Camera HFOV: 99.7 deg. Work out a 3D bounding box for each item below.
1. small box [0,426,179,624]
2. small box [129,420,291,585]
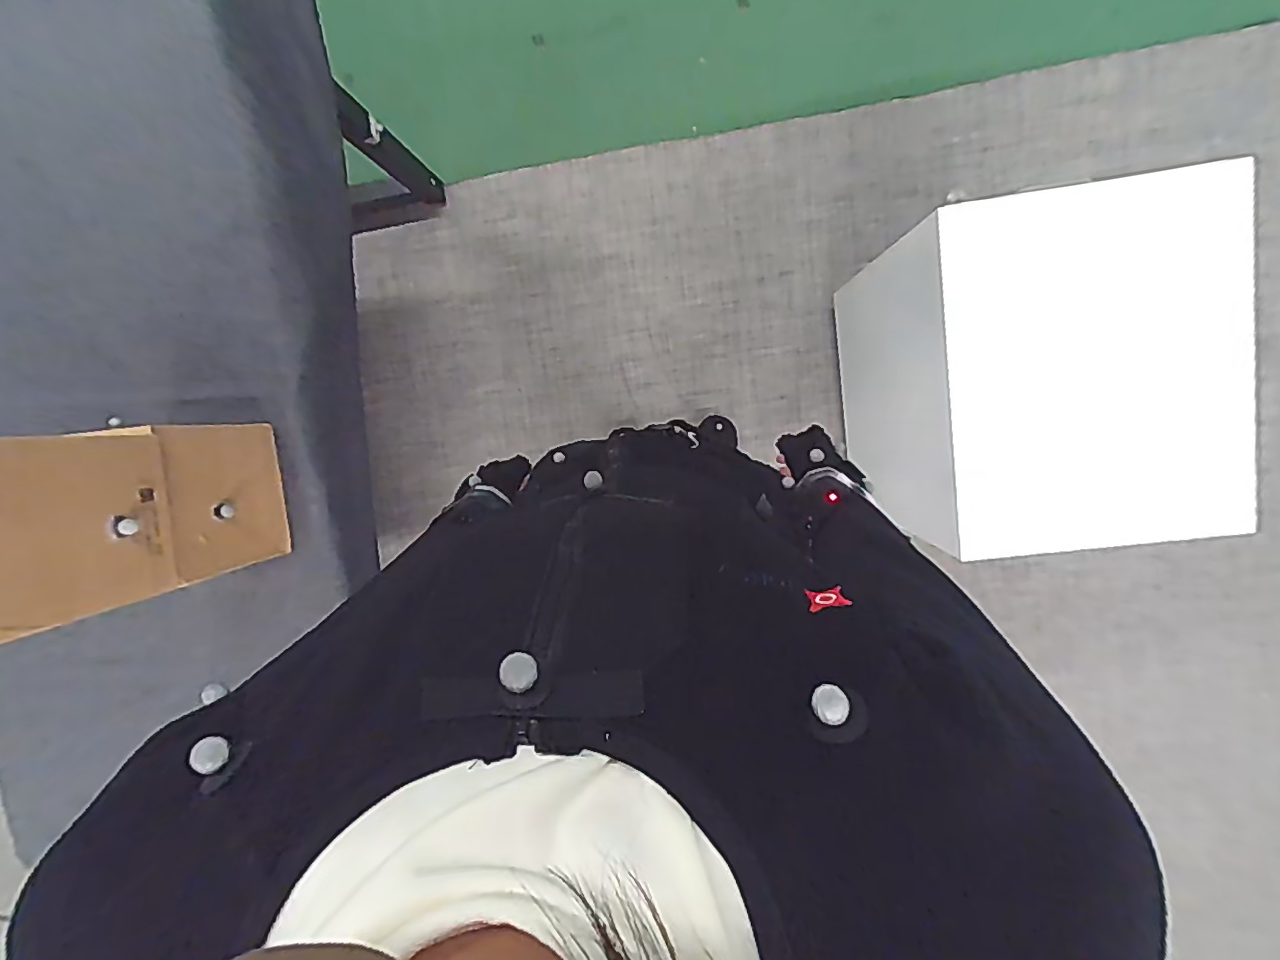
[{"bbox_3d":[-0.594,0.039,0.506,0.179,0.176,0.168,-5,96,9],"label":"small box"},{"bbox_3d":[-0.571,0.021,0.668,0.168,0.176,0.179,-4,97,7],"label":"small box"}]
